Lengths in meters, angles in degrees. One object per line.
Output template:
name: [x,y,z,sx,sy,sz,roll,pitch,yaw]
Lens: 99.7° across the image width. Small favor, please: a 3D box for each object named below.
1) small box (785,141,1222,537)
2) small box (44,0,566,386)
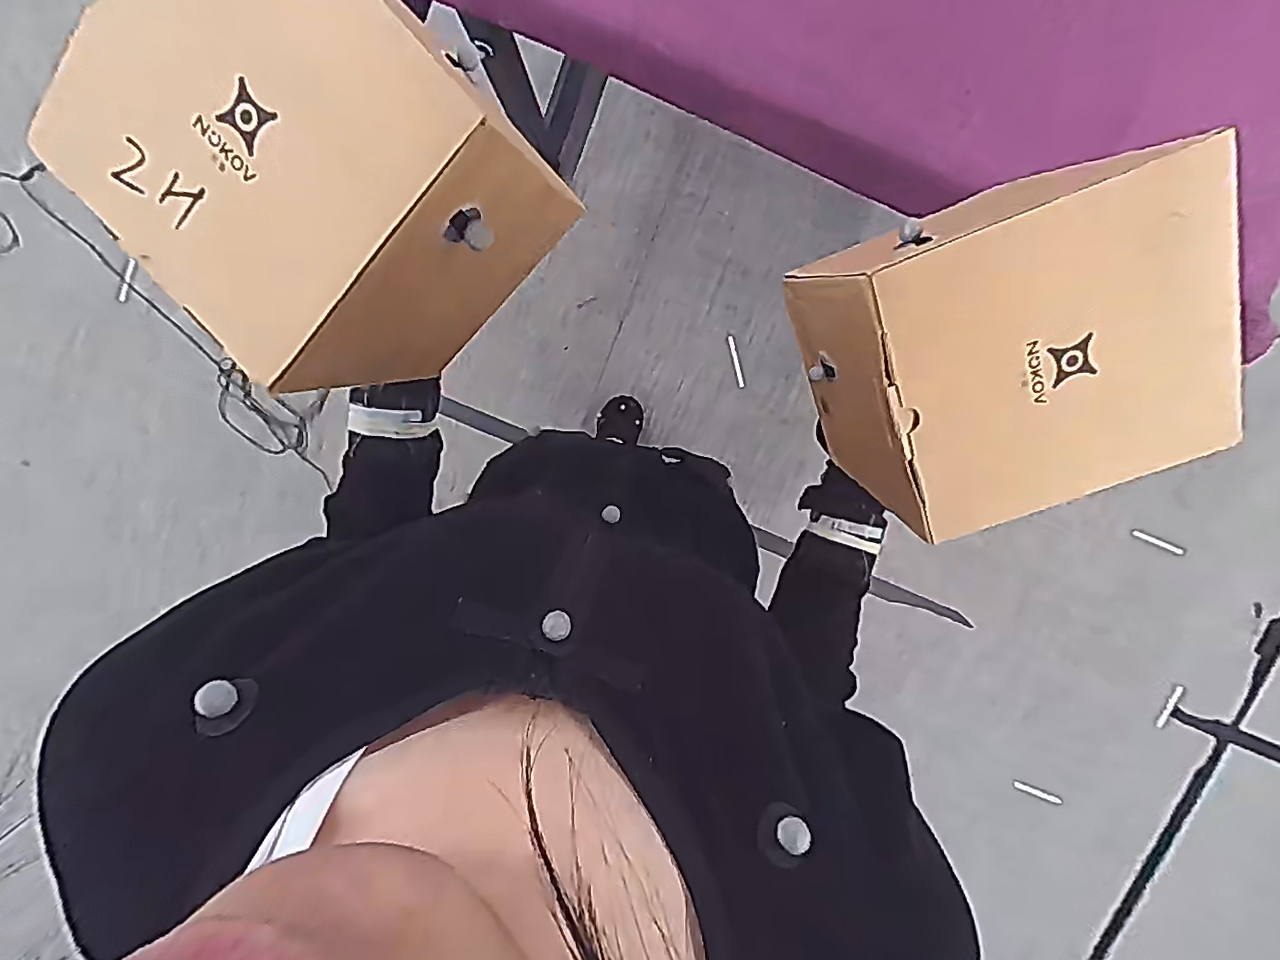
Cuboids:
small box: [0.222,-0.093,0.367,0.179,0.176,0.168,-21,109,7]
small box: [-0.164,-0.180,0.325,0.179,0.176,0.168,-42,94,16]
